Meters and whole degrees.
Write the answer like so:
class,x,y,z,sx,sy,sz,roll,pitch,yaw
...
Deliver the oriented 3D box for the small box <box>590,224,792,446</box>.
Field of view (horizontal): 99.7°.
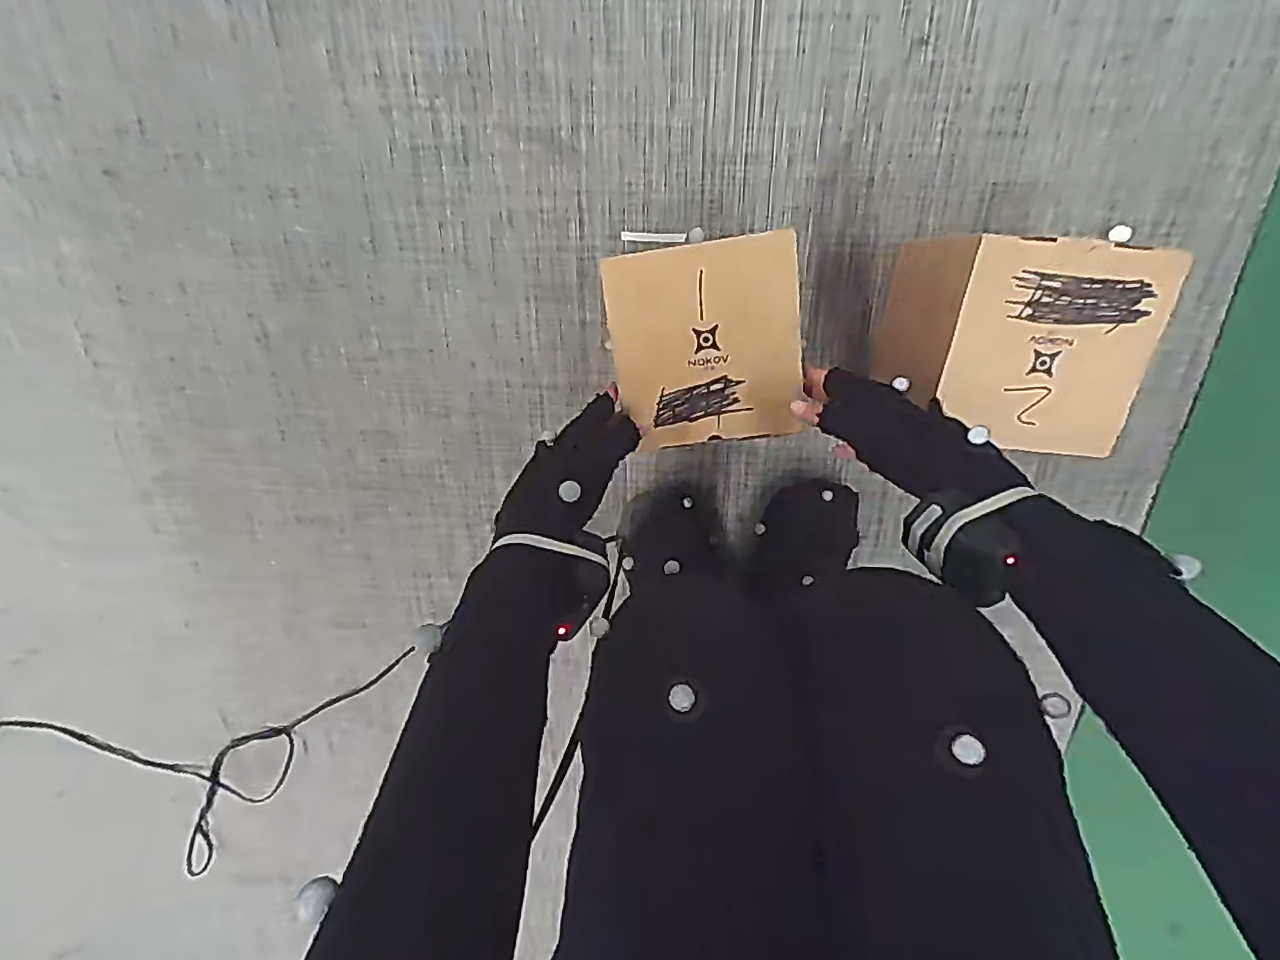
class,x,y,z,sx,sy,sz,roll,pitch,yaw
small box,0.055,-0.149,0.549,0.168,0.176,0.179,-7,110,6
